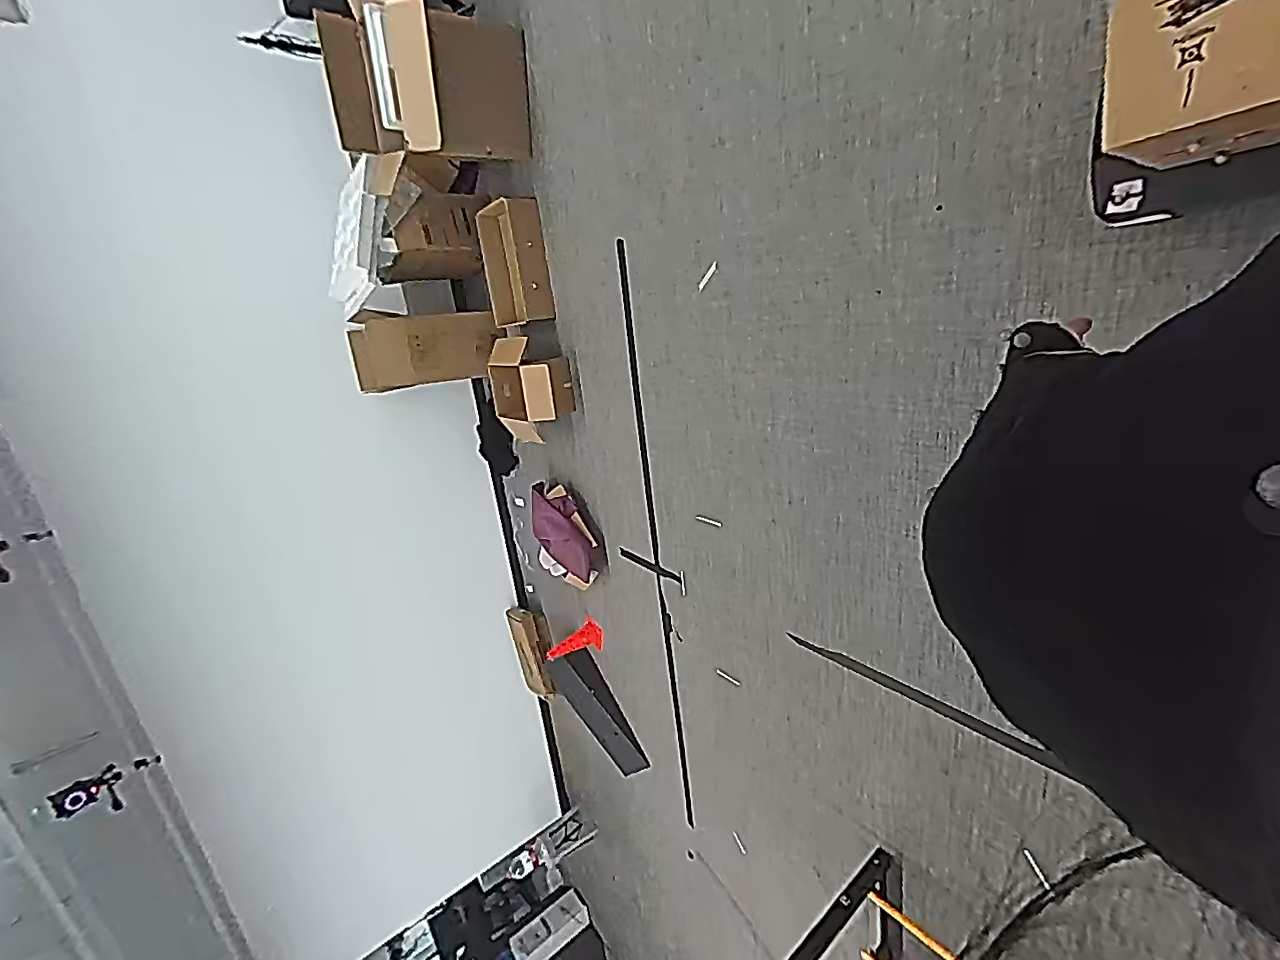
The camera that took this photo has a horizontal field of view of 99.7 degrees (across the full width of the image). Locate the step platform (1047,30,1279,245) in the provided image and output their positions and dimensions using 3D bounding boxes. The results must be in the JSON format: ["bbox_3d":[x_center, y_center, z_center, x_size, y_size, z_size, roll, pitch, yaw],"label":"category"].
[{"bbox_3d":[0.923,-0.491,0.637,0.684,0.204,0.286,13,115,51],"label":"step platform"}]

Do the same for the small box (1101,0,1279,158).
[{"bbox_3d":[0.714,-0.531,0.681,0.168,0.176,0.179,11,115,52],"label":"small box"}]

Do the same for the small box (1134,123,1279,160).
[{"bbox_3d":[0.845,-0.570,0.772,0.168,0.176,0.179,13,116,52],"label":"small box"}]
